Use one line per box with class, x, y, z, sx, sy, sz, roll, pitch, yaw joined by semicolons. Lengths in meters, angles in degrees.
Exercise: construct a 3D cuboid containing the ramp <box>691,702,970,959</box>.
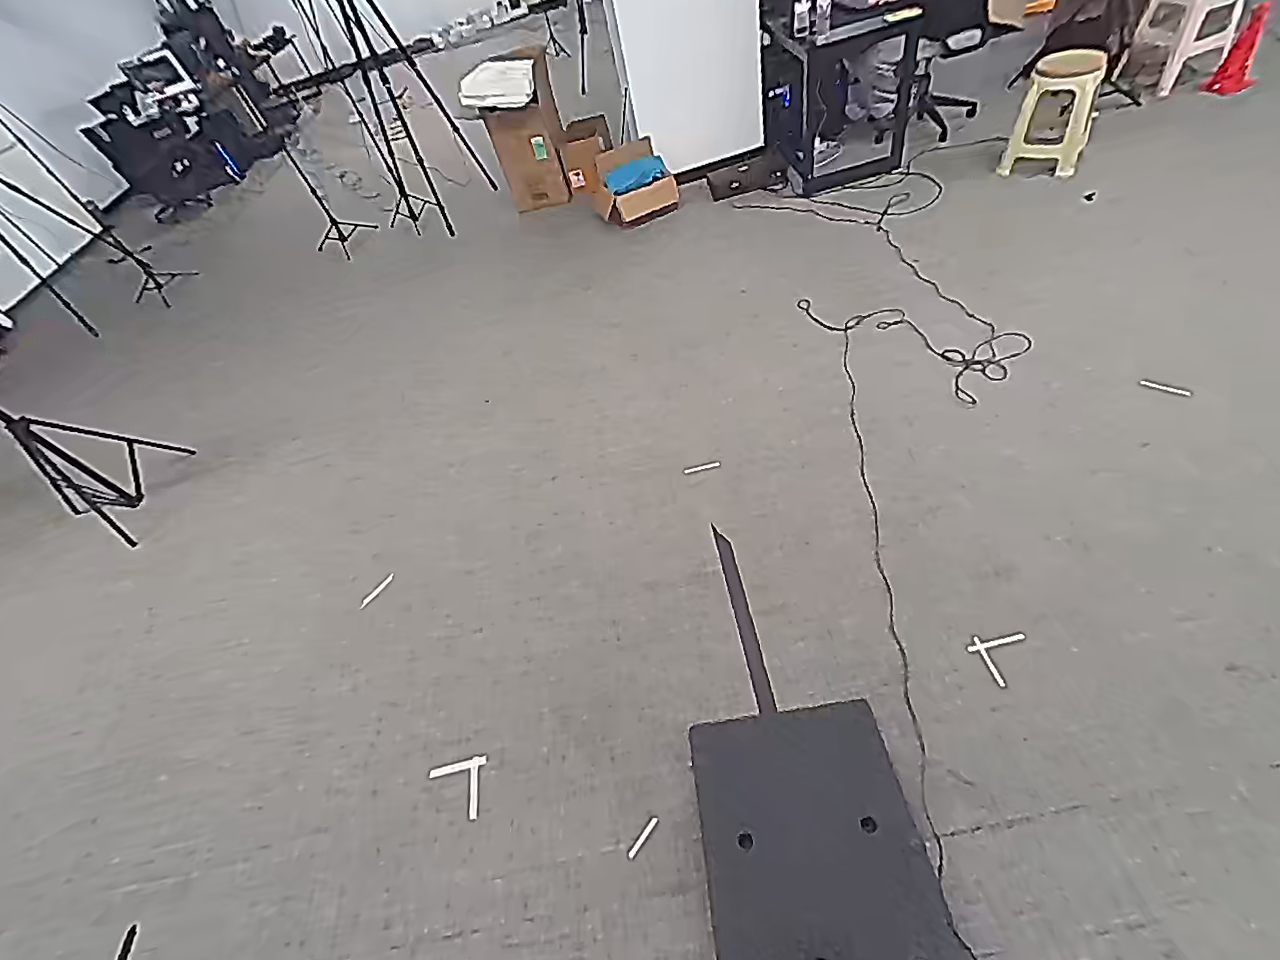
ramp;0.398;0.960;1.091;0.509;0.206;0.991;-14;48;6
